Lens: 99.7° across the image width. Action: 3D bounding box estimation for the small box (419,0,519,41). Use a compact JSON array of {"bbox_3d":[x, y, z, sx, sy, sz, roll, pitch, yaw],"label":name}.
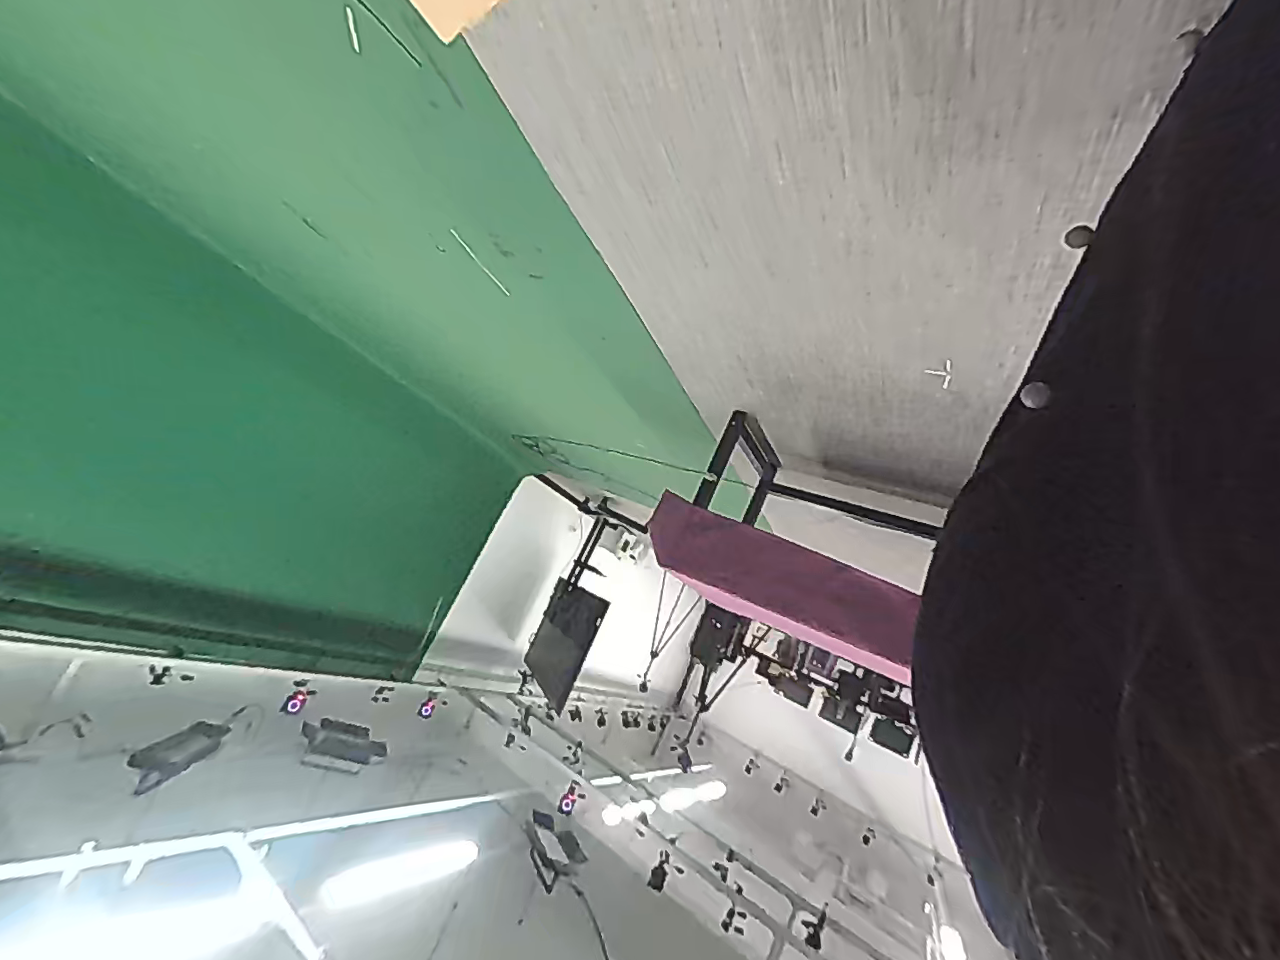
[{"bbox_3d":[-0.218,-0.719,0.677,0.168,0.176,0.179,15,162,41],"label":"small box"}]
